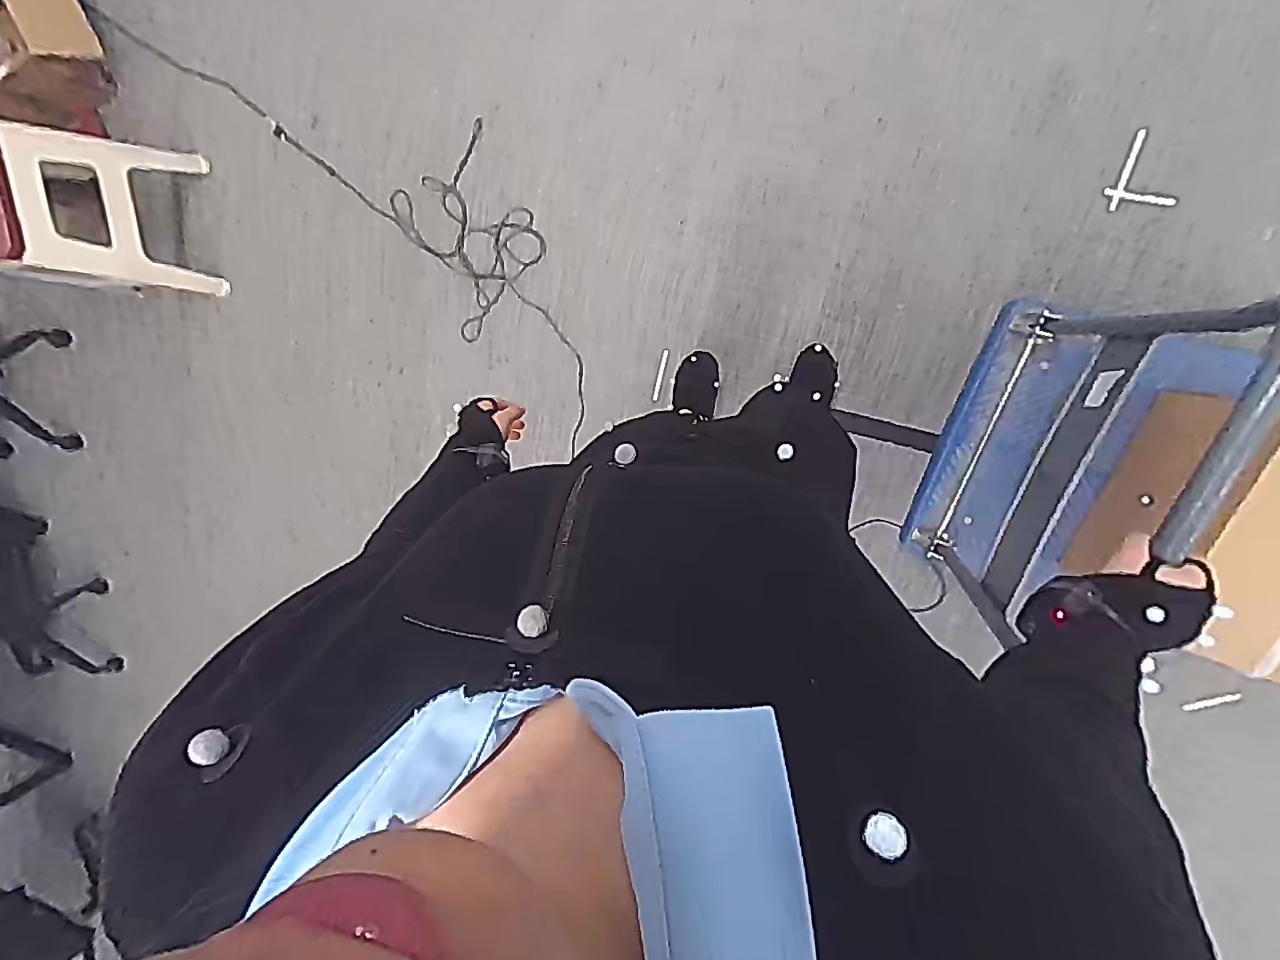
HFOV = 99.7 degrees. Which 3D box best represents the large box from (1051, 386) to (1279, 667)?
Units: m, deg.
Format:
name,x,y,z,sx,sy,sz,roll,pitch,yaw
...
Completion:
name,x,y,z,sx,sy,sz,roll,pitch,yaw
large box,1.067,0.071,0.988,0.320,0.320,0.408,18,106,7
